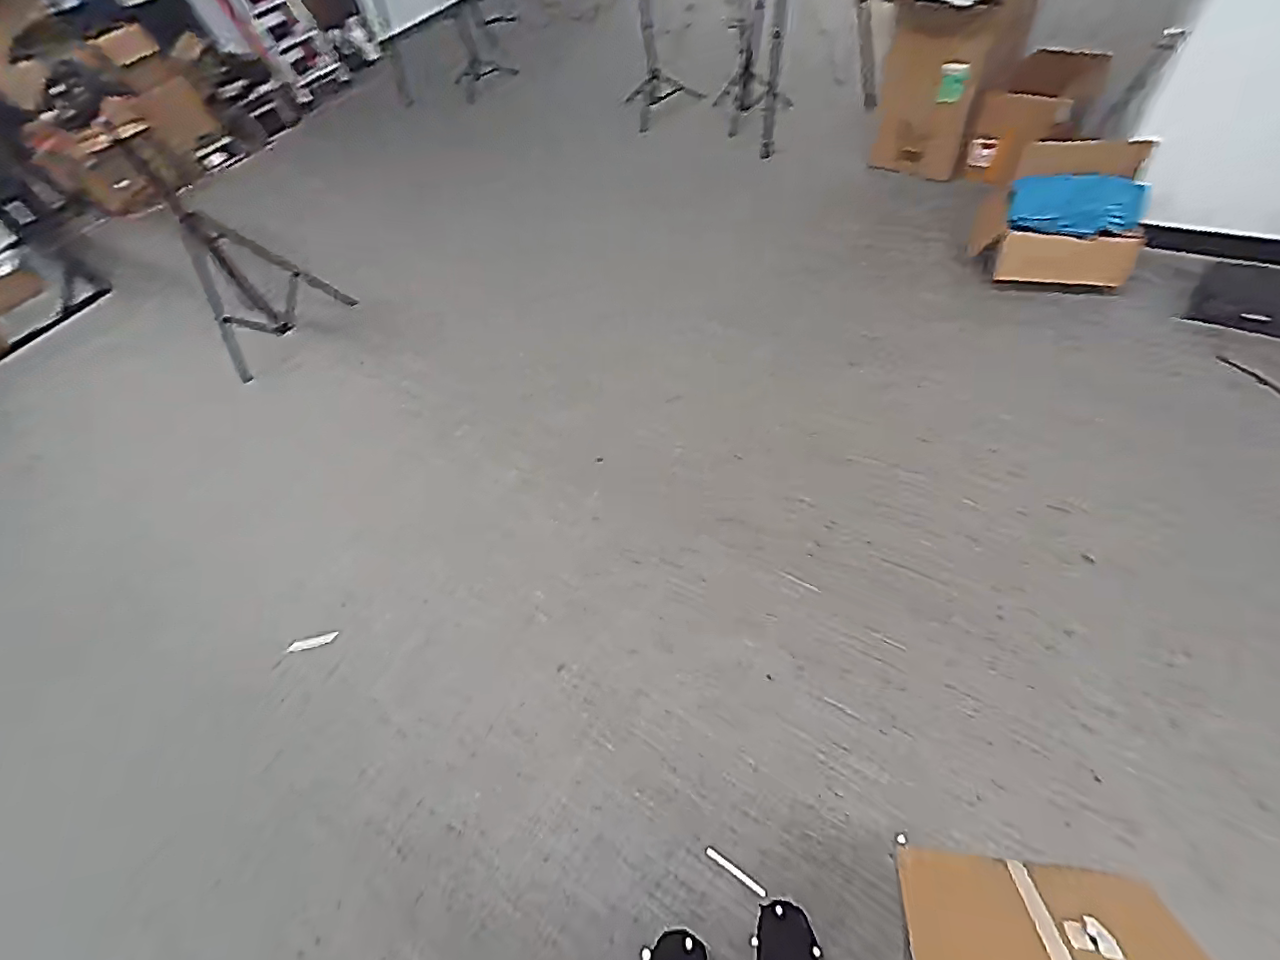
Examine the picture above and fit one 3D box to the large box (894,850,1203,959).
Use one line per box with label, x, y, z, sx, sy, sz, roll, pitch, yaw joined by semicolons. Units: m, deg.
large box;0.489;0.705;0.596;0.320;0.408;0.320;-4;87;19
